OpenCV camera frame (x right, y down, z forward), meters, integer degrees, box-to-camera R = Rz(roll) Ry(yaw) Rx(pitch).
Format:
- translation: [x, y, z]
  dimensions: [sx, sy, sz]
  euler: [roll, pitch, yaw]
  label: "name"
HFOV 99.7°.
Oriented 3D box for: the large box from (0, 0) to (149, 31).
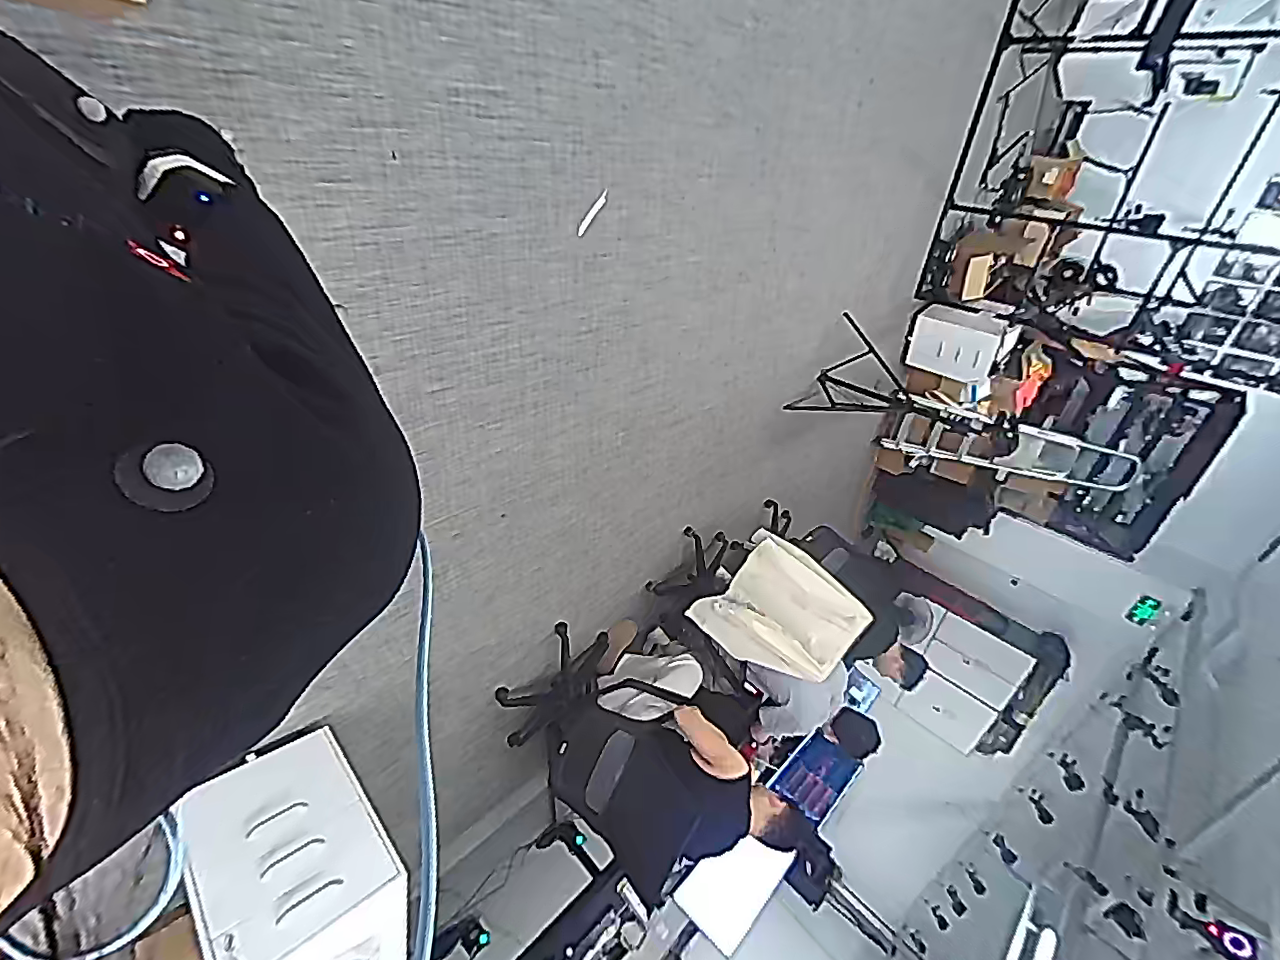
- translation: [-0.851, -0.726, 0.569]
  dimensions: [0.408, 0.320, 0.320]
  euler: [-22, 131, -42]
  label: "large box"
